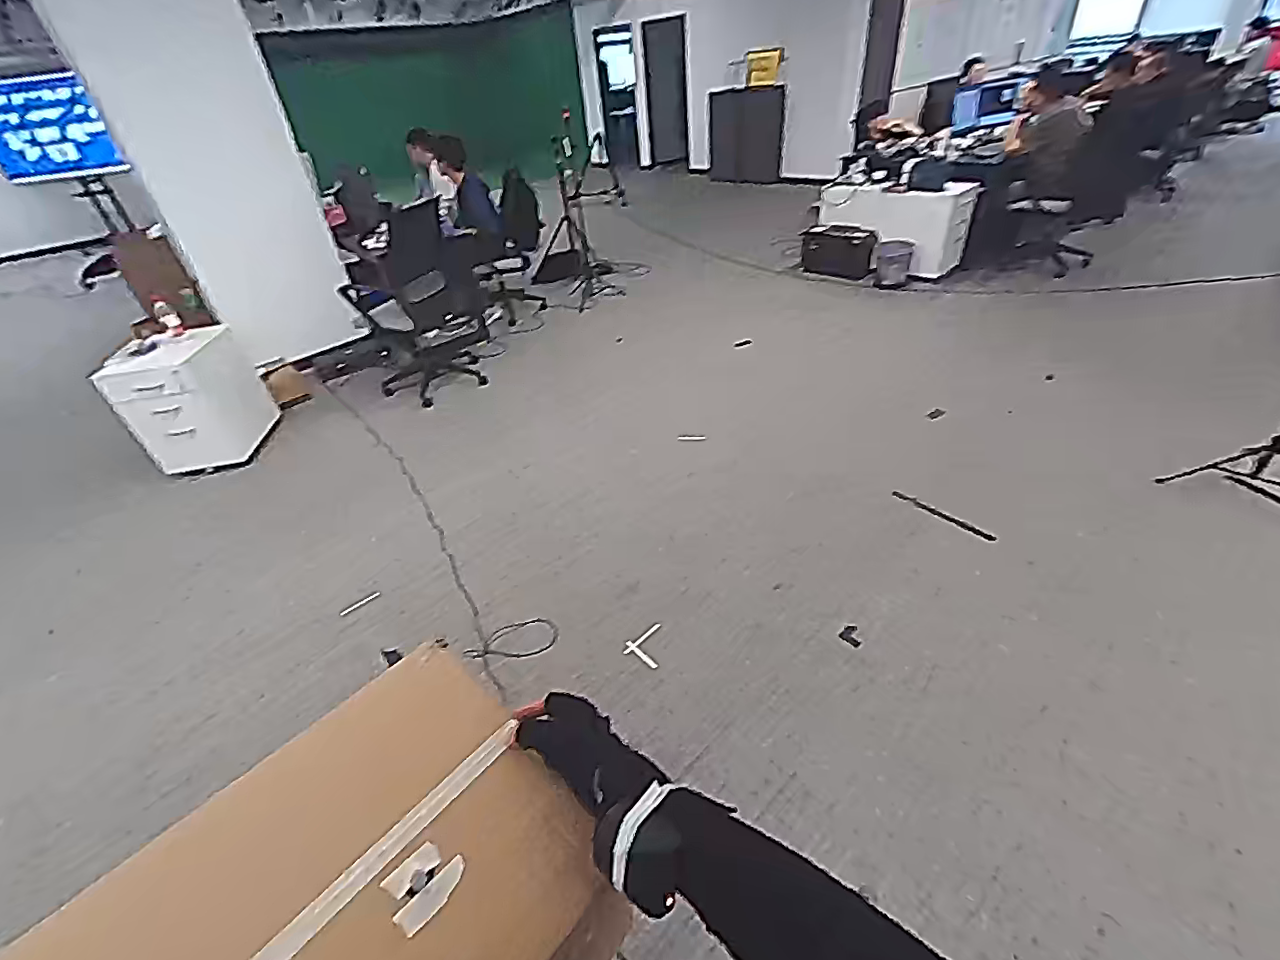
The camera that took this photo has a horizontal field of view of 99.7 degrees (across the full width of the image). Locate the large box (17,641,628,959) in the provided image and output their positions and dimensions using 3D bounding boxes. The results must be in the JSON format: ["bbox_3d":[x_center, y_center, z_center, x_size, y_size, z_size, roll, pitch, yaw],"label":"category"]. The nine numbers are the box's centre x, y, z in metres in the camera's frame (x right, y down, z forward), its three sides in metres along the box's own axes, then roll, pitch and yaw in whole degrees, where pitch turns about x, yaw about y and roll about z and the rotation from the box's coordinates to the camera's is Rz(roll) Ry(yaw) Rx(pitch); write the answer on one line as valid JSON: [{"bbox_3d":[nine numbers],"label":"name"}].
[{"bbox_3d":[-0.253,0.465,0.551,0.320,0.320,0.408,32,49,30],"label":"large box"}]
